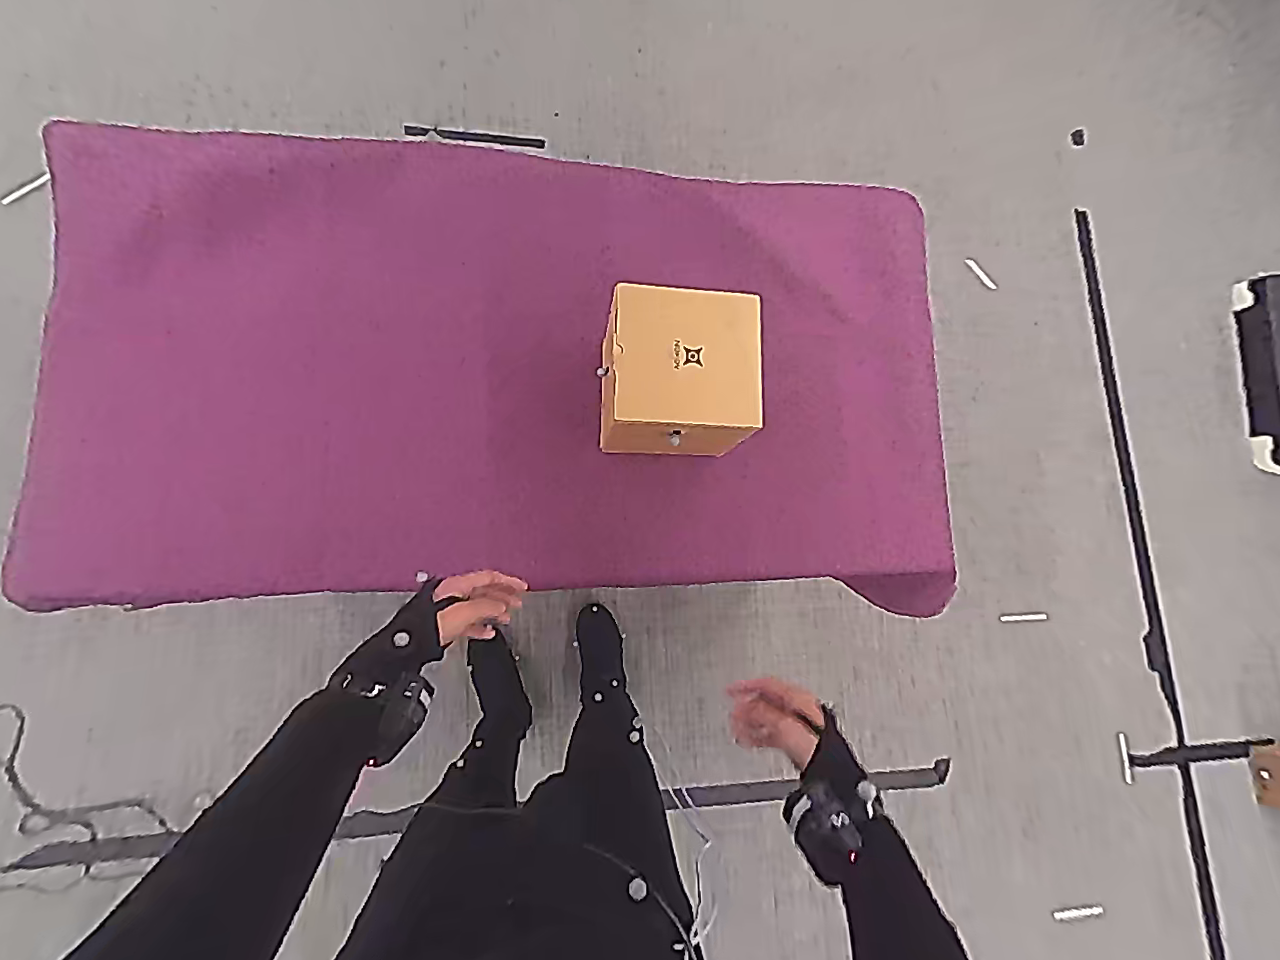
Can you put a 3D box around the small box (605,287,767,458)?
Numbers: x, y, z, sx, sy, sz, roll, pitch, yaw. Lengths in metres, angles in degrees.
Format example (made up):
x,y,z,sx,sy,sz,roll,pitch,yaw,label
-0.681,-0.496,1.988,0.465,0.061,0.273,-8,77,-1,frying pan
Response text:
x,y,z,sx,sy,sz,roll,pitch,yaw,label
0.051,-0.125,0.694,0.179,0.176,0.168,2,82,-7,small box
